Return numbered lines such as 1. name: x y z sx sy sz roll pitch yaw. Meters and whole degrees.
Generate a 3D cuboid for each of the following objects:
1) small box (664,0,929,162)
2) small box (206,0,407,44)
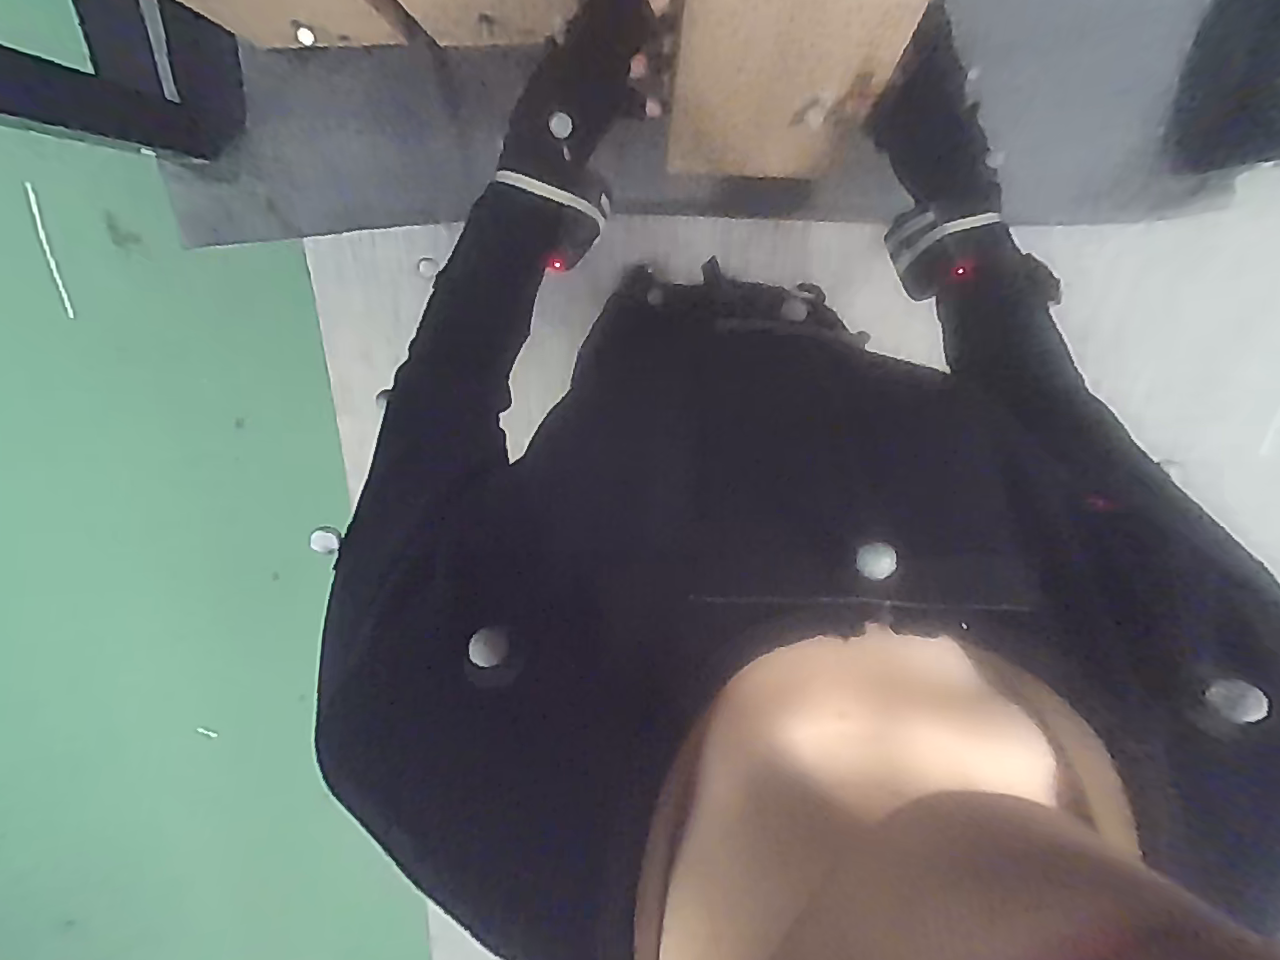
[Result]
1. small box: 0.112 -0.392 0.446 0.176 0.168 0.179 0 80 -2
2. small box: -0.327 -0.517 0.468 0.168 0.176 0.179 0 111 3
